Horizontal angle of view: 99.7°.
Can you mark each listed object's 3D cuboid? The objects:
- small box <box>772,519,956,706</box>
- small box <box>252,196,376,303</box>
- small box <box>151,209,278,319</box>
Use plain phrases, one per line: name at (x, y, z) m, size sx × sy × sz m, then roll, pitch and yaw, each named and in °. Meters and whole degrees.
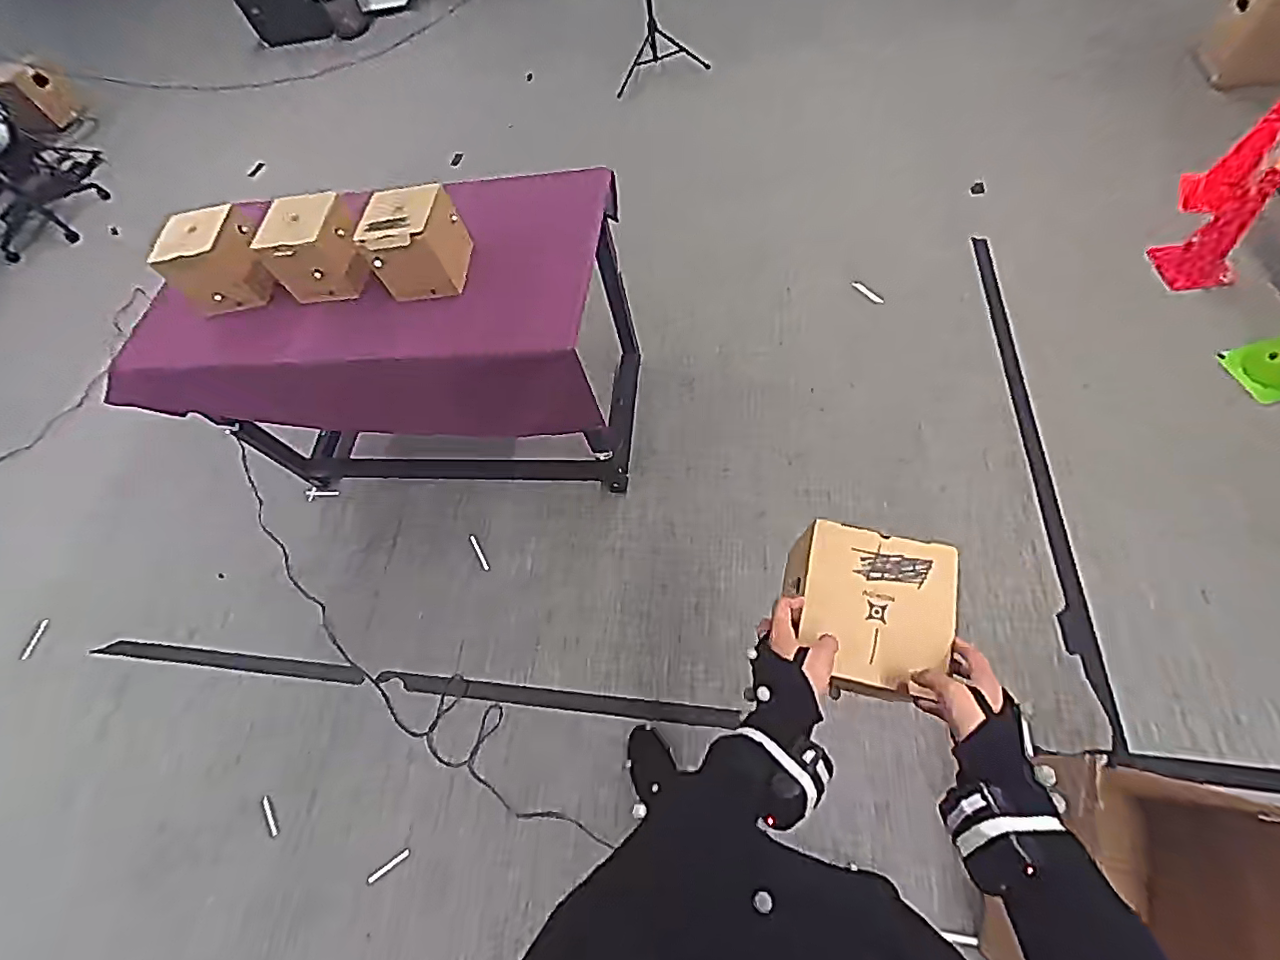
small box at (0.268, 0.169, 0.673) m, size 0.168 × 0.176 × 0.179 m, roll 11°, pitch 70°, yaw 9°
small box at (-0.767, -0.543, 1.297) m, size 0.168 × 0.176 × 0.179 m, roll -1°, pitch 62°, yaw 9°
small box at (-1.034, -0.530, 1.338) m, size 0.168 × 0.176 × 0.179 m, roll -8°, pitch 62°, yaw 7°
